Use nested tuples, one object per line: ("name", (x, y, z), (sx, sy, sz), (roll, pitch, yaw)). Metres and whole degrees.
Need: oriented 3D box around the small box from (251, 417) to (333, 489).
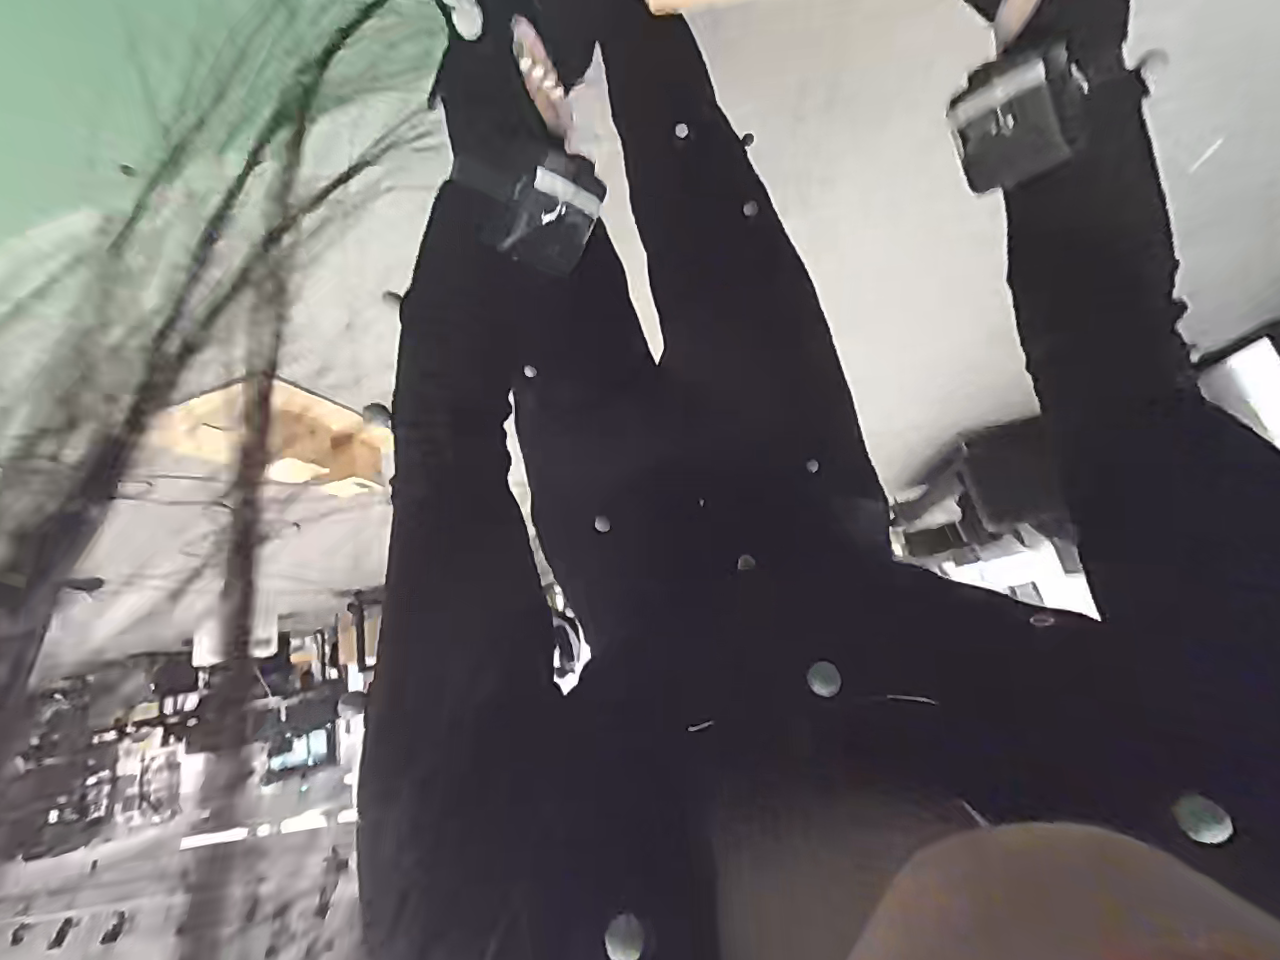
("small box", (-1.164, -0.089, 1.817), (0.179, 0.176, 0.168), (-17, 162, 13))
